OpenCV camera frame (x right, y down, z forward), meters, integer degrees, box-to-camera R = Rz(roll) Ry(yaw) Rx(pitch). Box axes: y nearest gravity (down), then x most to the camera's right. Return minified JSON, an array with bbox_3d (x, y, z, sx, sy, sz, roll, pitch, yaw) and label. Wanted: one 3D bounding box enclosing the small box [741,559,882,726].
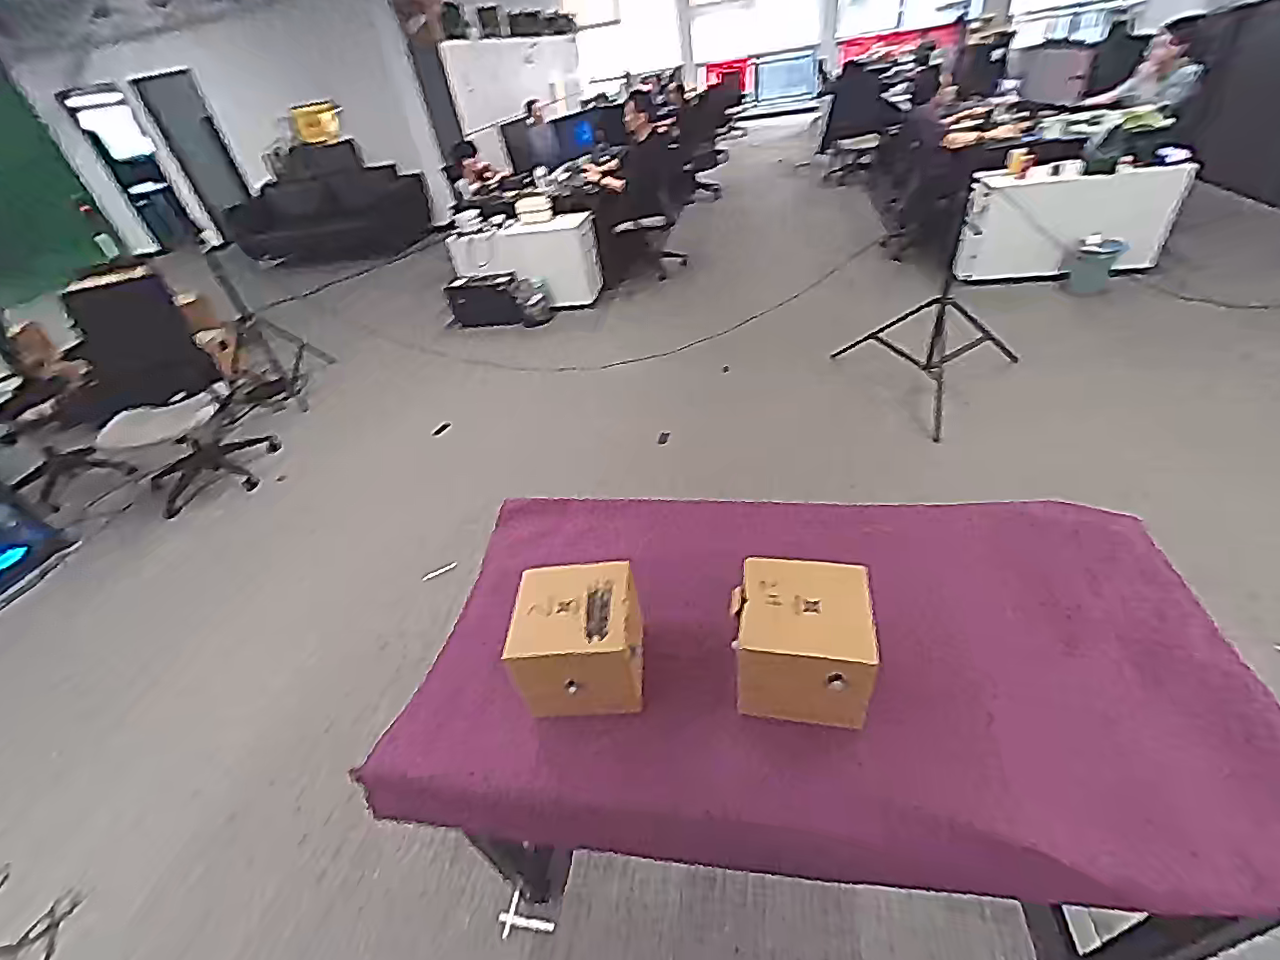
[{"bbox_3d":[0.244,0.239,0.799,0.179,0.176,0.168,1,39,15],"label":"small box"}]
